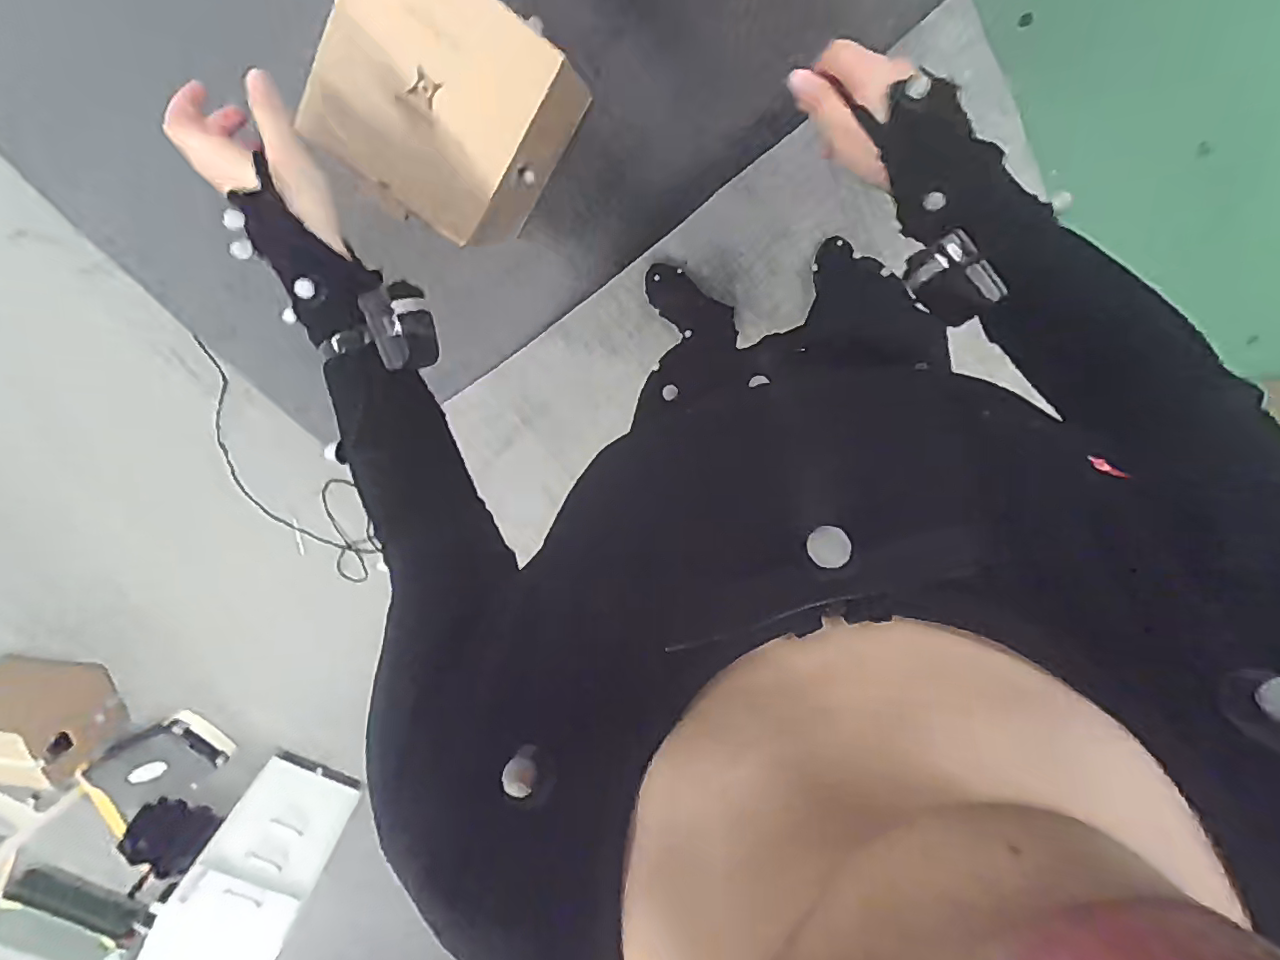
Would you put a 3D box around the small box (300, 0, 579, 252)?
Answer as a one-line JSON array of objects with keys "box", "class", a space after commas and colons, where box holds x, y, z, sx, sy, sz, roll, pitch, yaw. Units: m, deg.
[{"box": [-0.174, -0.348, 0.519, 0.168, 0.176, 0.179, 33, 113, -13], "class": "small box"}]
